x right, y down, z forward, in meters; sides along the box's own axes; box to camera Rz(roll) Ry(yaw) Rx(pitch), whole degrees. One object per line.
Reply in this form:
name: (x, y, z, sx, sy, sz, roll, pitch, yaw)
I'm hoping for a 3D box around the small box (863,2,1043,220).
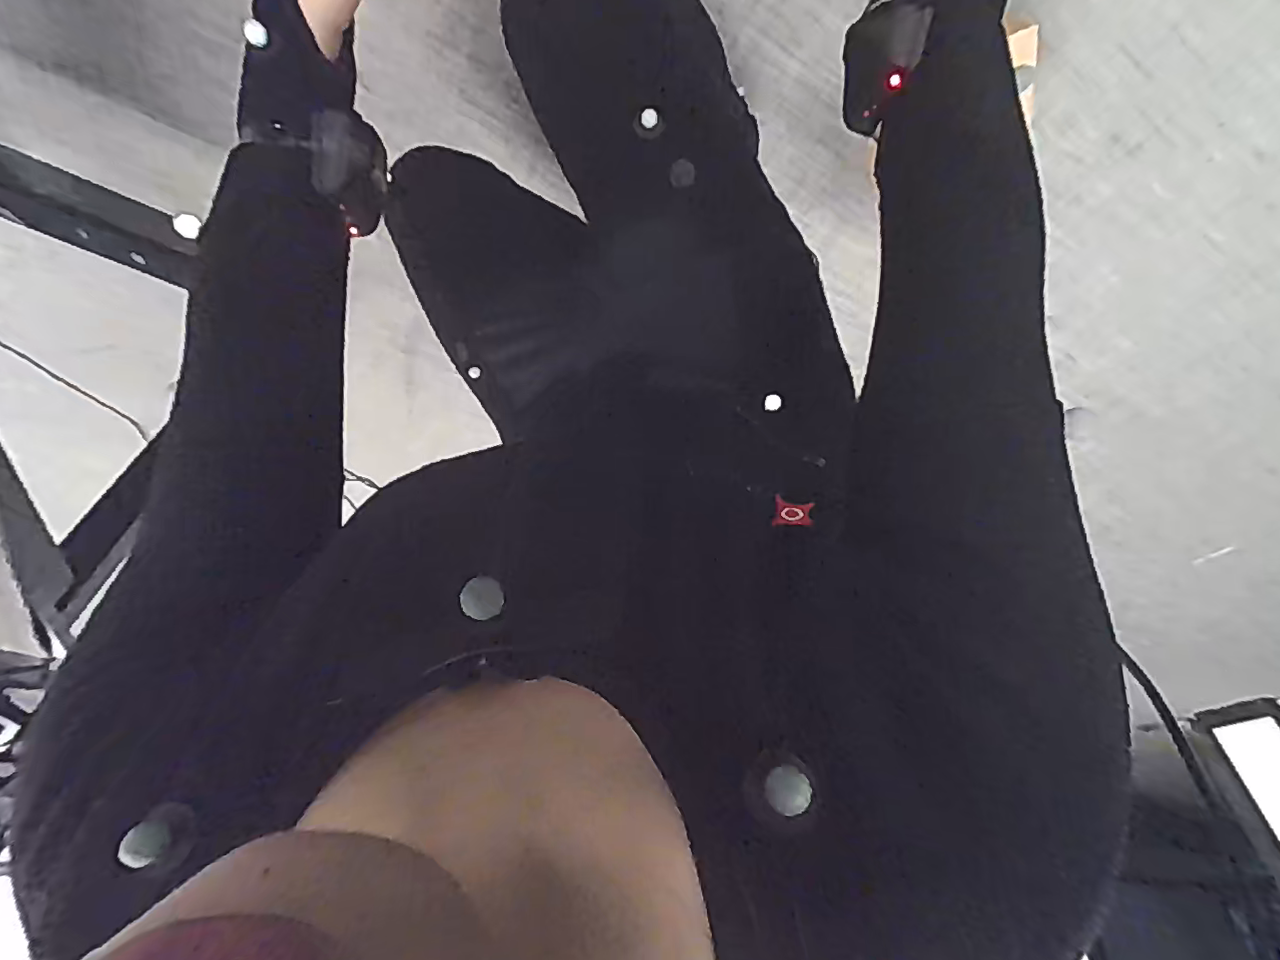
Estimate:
small box: (0.416, -0.503, 0.743, 0.168, 0.176, 0.179, -14, 136, 19)
